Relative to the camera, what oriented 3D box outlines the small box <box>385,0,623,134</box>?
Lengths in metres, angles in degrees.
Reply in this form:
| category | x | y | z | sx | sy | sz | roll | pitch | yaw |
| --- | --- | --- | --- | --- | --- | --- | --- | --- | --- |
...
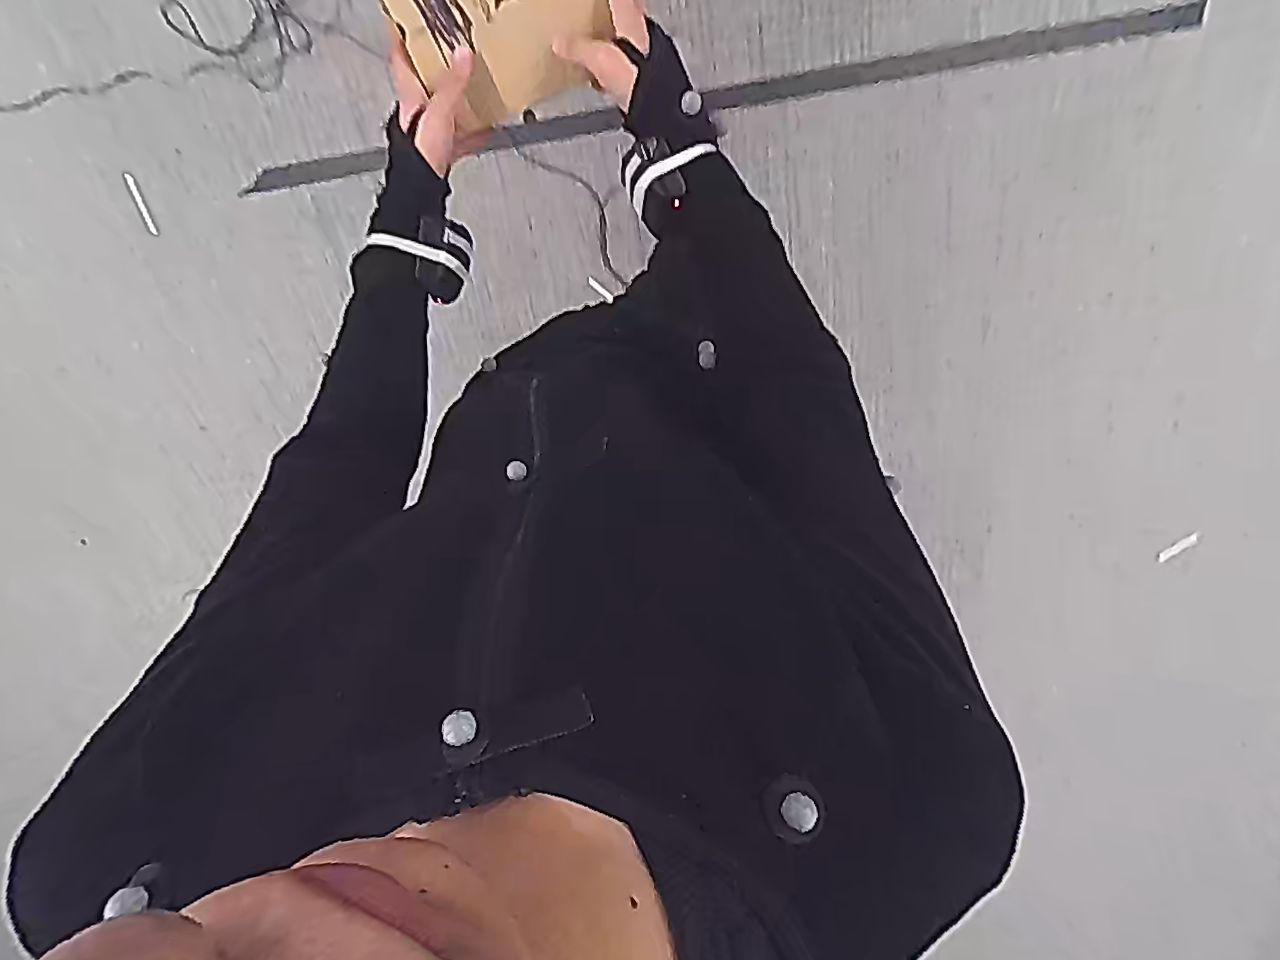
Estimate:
| category | x | y | z | sx | sy | sz | roll | pitch | yaw |
| --- | --- | --- | --- | --- | --- | --- | --- | --- | --- |
| small box | -0.128 | -0.449 | 0.504 | 0.179 | 0.176 | 0.168 | -20 | 127 | 6 |
